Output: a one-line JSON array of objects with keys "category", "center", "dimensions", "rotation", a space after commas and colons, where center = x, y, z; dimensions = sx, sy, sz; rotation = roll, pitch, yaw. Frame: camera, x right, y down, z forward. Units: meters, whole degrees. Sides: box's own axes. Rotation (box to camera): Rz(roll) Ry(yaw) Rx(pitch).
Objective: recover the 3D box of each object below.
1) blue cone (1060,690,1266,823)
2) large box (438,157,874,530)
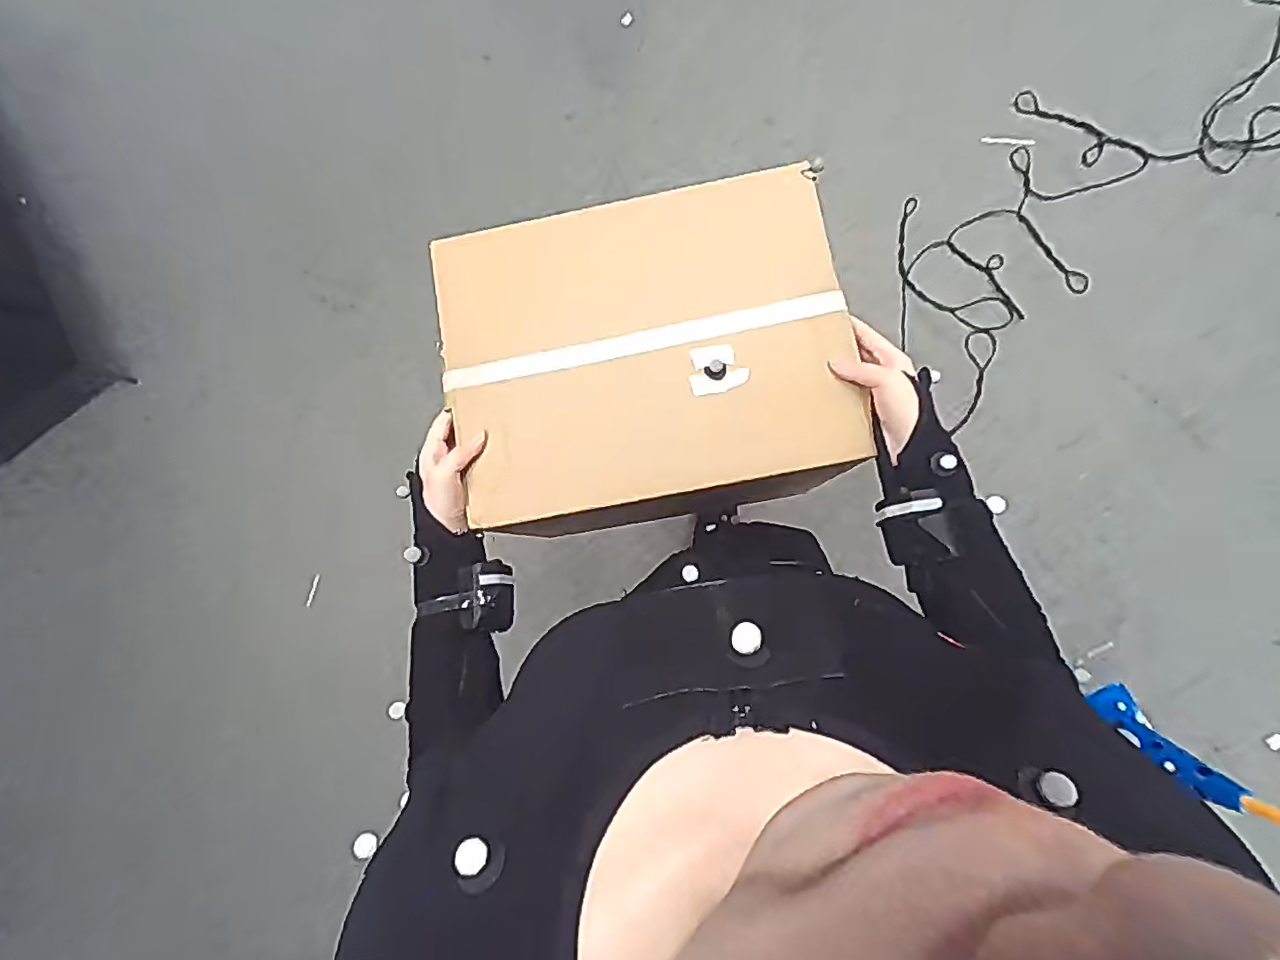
[{"category": "blue cone", "center": [1.112, 0.601, 1.140], "dimensions": [0.193, 0.380, 0.192], "rotation": [-26, 81, 4]}, {"category": "large box", "center": [0.012, -0.130, 0.694], "dimensions": [0.408, 0.320, 0.320], "rotation": [-11, 82, 2]}]
